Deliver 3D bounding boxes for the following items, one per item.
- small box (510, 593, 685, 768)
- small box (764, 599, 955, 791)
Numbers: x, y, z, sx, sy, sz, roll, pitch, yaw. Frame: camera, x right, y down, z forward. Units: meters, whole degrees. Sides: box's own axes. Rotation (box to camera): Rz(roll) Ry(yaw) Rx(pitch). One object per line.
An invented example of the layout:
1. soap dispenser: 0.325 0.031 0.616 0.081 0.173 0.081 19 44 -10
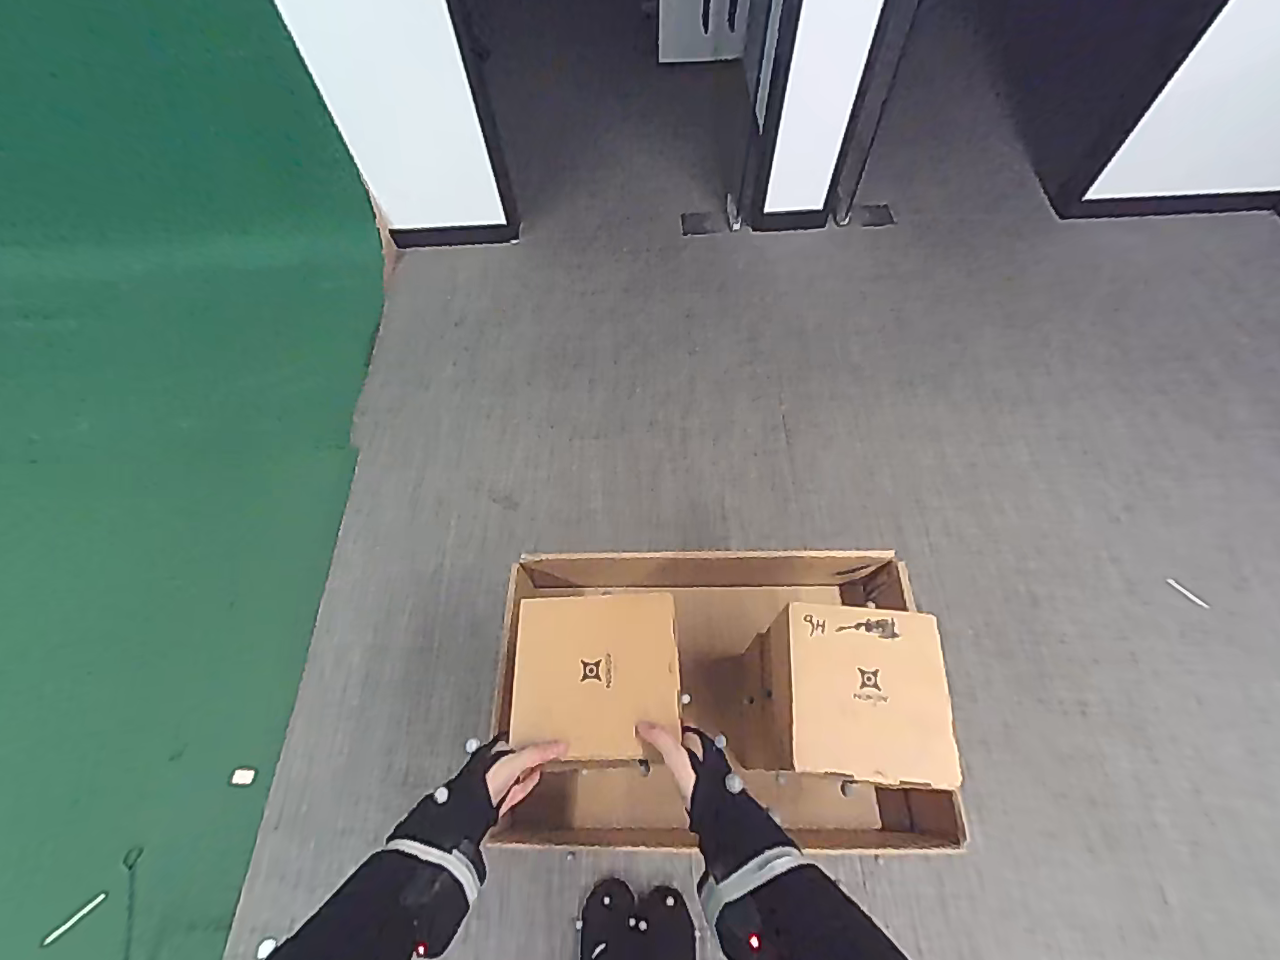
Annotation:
1. small box: -0.039 0.243 0.643 0.179 0.176 0.168 -3 59 3
2. small box: 0.245 0.255 0.644 0.168 0.176 0.179 5 63 6
